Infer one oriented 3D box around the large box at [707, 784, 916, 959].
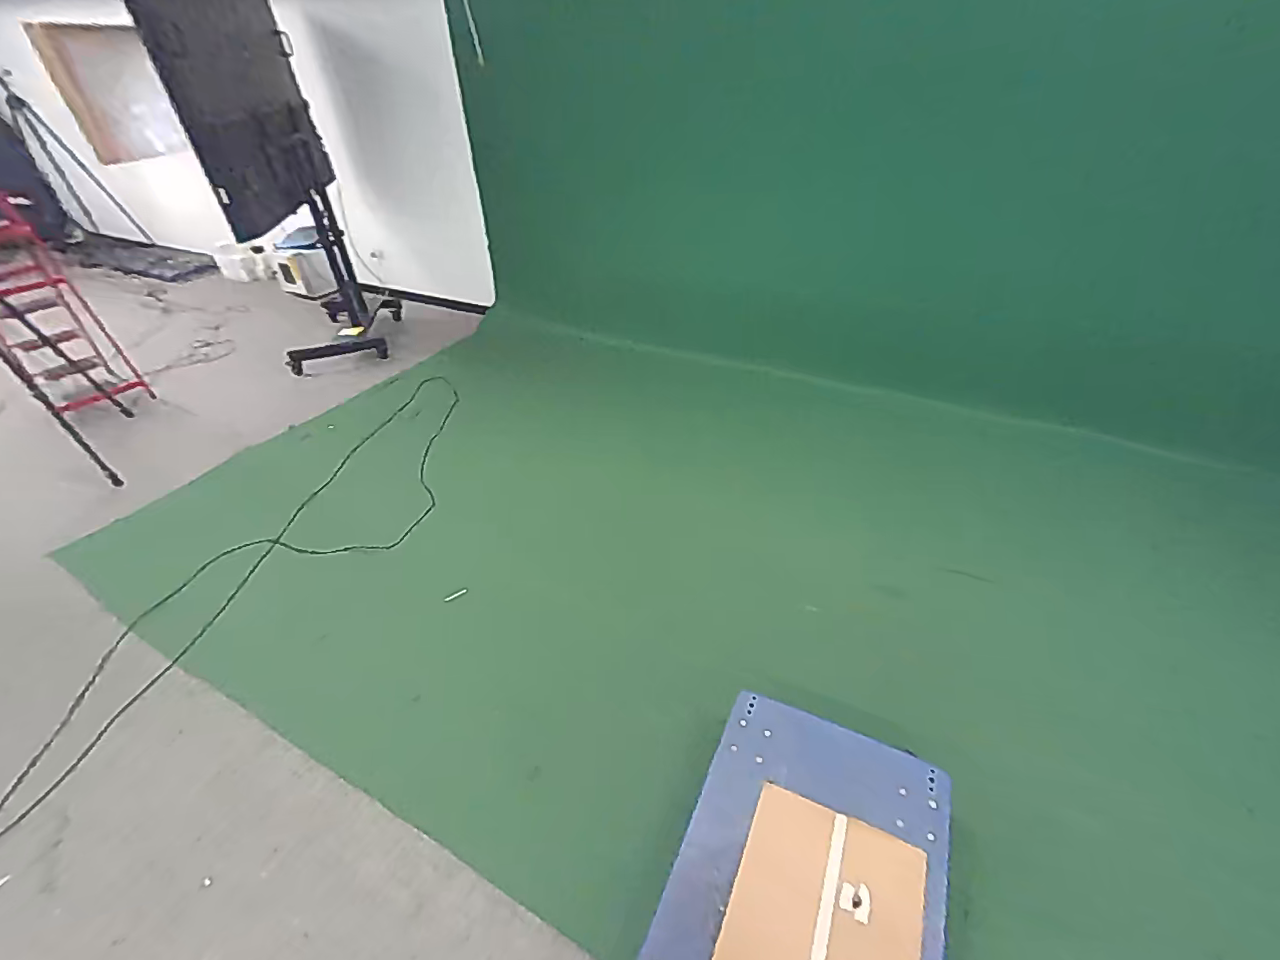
[{"bbox_3d":[0.309,0.901,1.026,0.320,0.320,0.408,15,40,22],"label":"large box"}]
